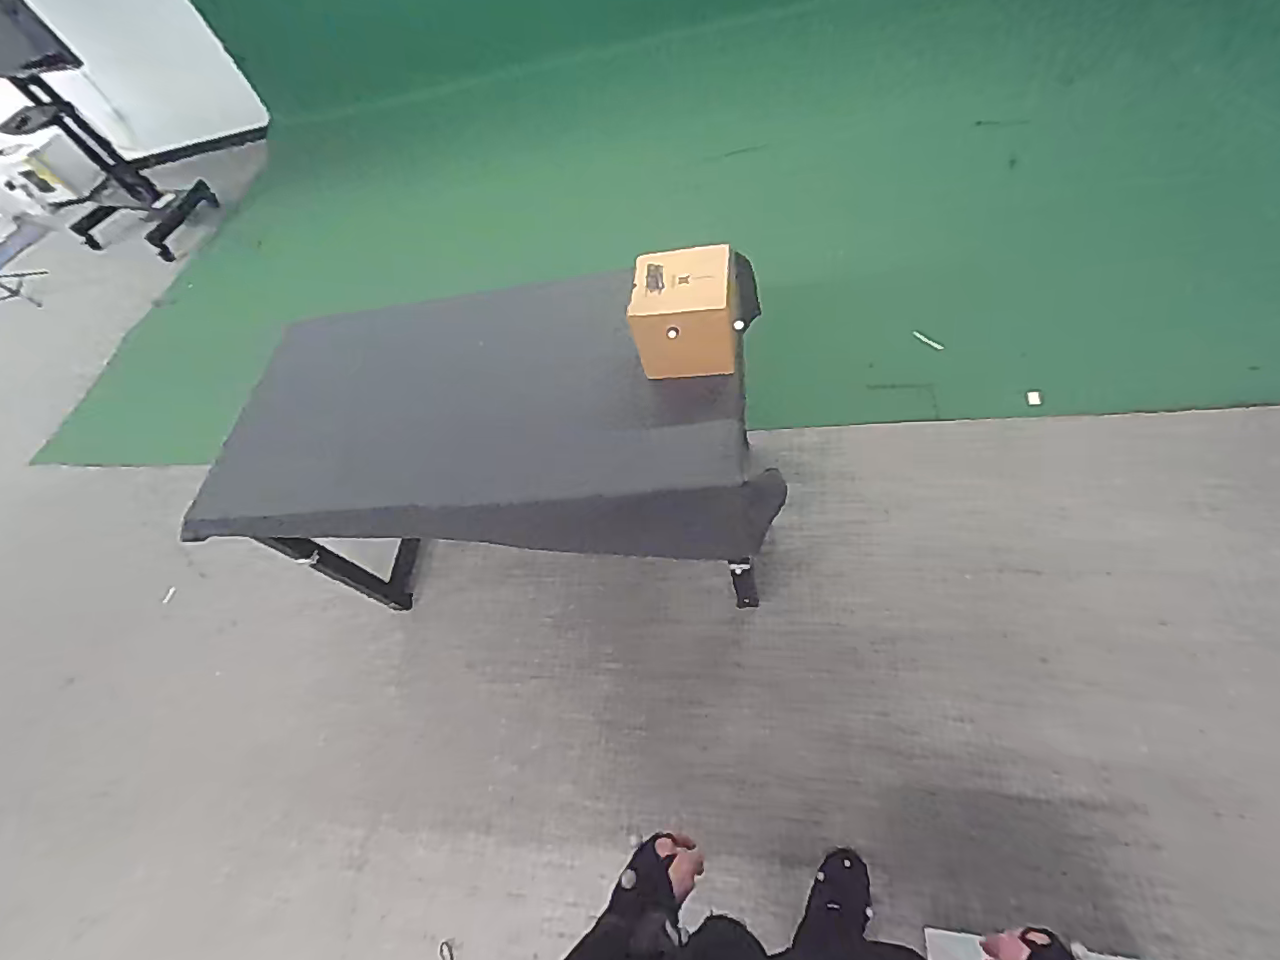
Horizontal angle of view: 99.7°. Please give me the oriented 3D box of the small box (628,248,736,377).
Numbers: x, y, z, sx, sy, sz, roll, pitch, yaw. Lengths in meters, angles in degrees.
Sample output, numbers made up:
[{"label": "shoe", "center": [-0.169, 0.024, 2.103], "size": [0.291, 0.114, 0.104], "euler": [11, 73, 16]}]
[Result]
[{"label": "small box", "center": [0.087, -0.310, 1.025], "size": [0.179, 0.176, 0.168], "euler": [0, 59, 12]}]
